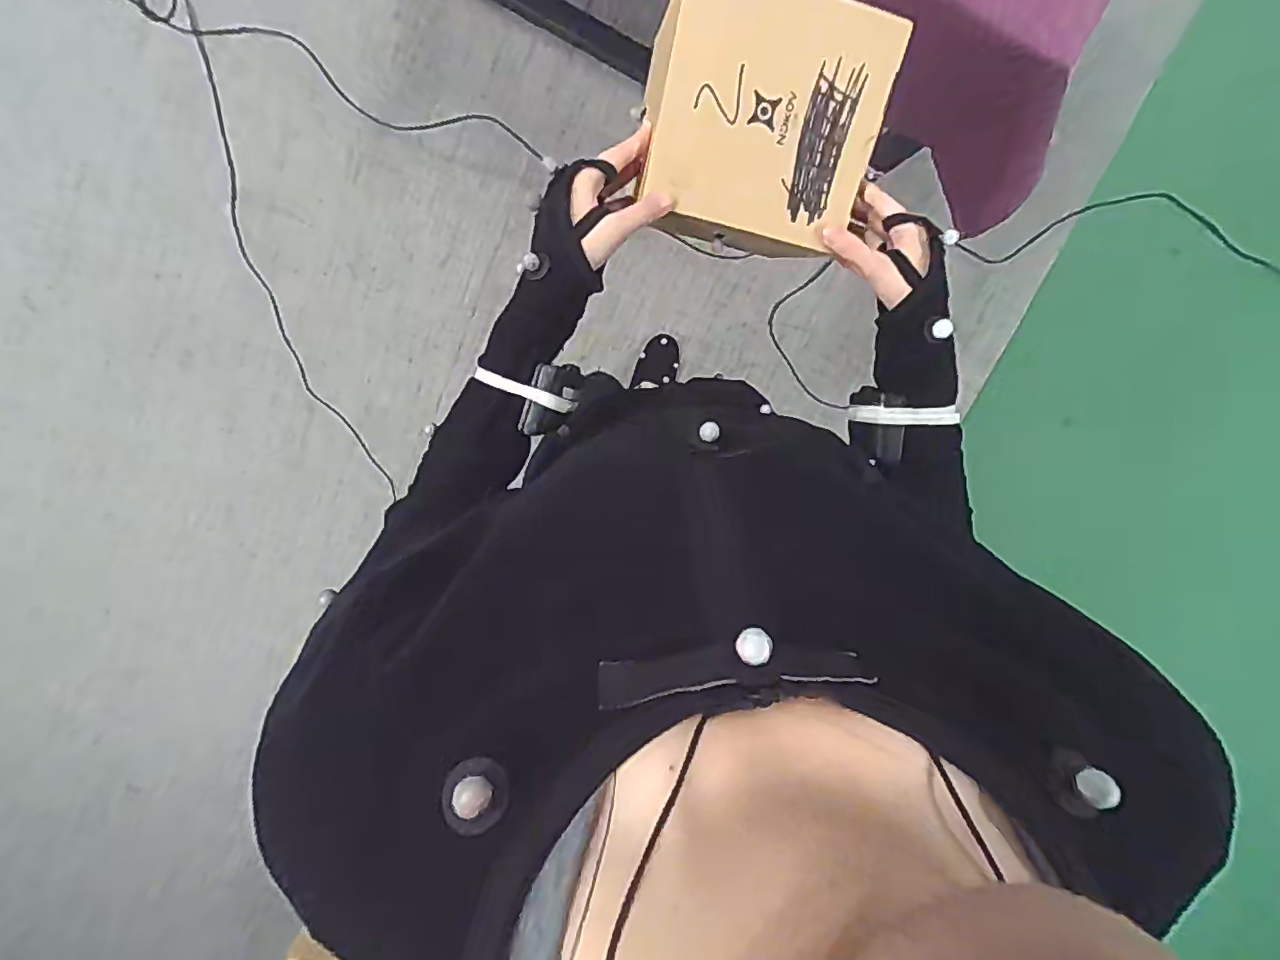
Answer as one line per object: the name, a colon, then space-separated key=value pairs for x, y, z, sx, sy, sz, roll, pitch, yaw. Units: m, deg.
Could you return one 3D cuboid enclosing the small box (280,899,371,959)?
small box: x=-0.903 y=1.343 z=1.528 sx=0.179 sy=0.176 sz=0.168 roll=33 pitch=99 yaw=-10
